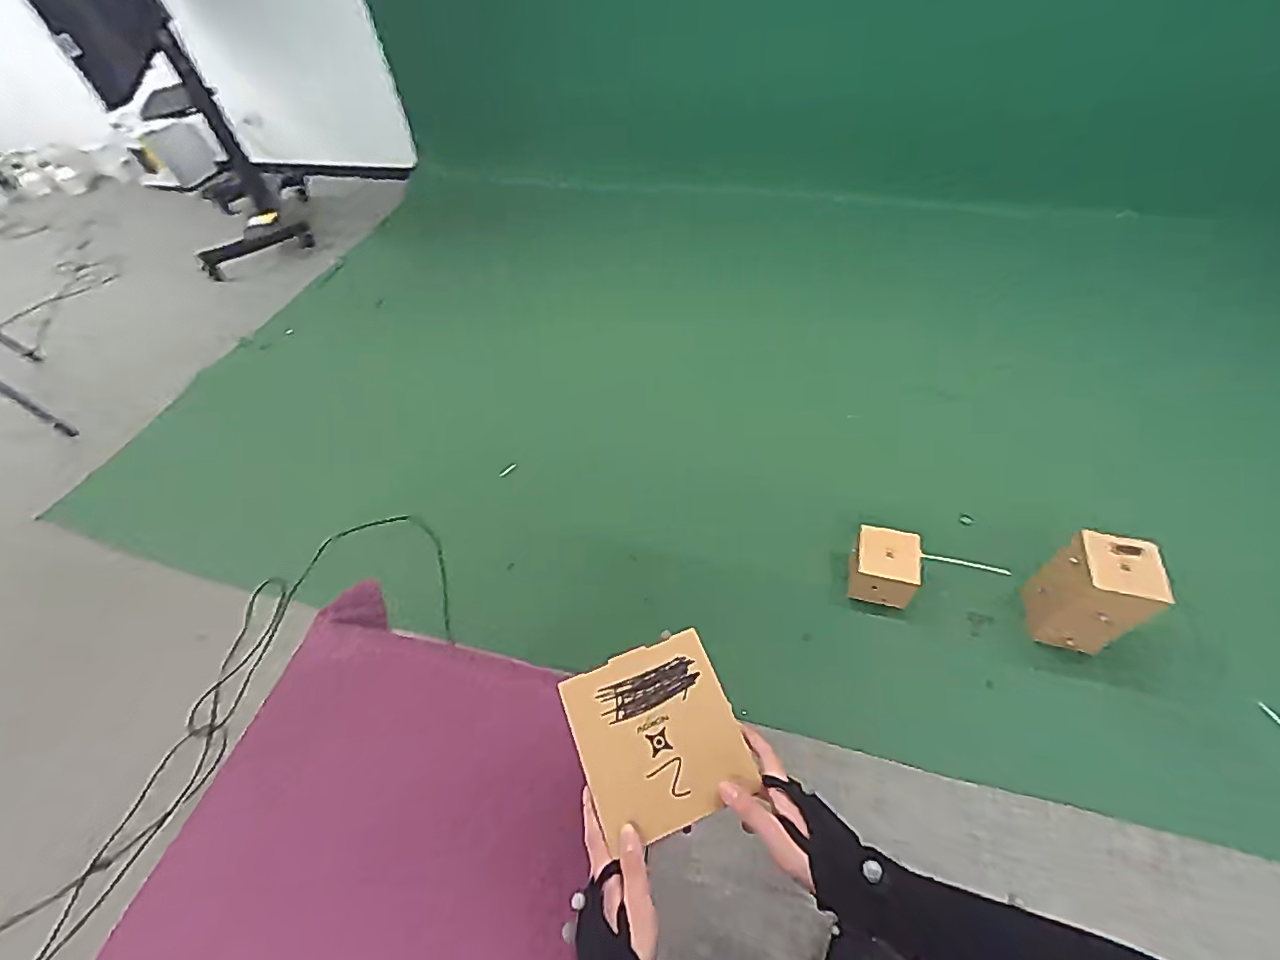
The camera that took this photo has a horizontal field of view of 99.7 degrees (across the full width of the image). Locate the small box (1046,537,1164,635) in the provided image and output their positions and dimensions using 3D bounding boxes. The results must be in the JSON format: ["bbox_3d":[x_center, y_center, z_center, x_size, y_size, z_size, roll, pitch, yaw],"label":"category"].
[{"bbox_3d":[1.205,0.280,1.420,0.168,0.176,0.179,11,53,13],"label":"small box"}]

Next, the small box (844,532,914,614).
[{"bbox_3d":[0.733,0.289,1.667,0.168,0.176,0.179,10,52,13],"label":"small box"}]

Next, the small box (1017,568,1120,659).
[{"bbox_3d":[1.213,0.383,1.548,0.168,0.176,0.179,12,53,13],"label":"small box"}]
